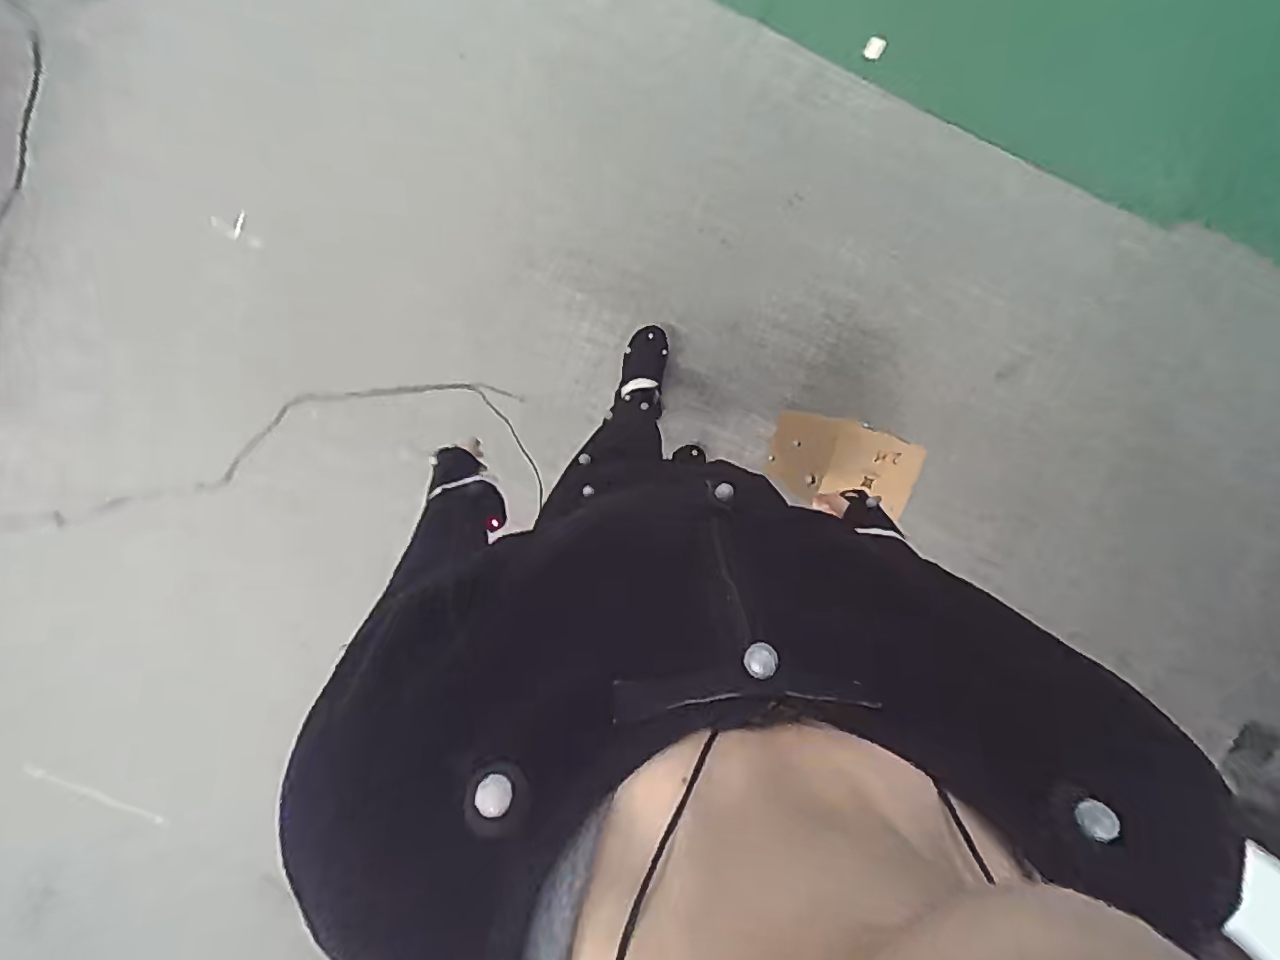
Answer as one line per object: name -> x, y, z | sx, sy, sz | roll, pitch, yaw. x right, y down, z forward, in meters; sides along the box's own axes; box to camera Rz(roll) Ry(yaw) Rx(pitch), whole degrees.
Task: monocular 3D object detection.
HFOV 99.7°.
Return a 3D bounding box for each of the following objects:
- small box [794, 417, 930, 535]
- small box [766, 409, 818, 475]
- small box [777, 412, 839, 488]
small box -> 0.425, -0.015, 1.074 | 0.168, 0.176, 0.179 | 22, 97, -4
small box -> 0.441, -0.073, 1.399 | 0.168, 0.176, 0.179 | 22, 97, -3
small box -> 0.432, -0.045, 1.237 | 0.168, 0.176, 0.179 | 21, 97, -2
